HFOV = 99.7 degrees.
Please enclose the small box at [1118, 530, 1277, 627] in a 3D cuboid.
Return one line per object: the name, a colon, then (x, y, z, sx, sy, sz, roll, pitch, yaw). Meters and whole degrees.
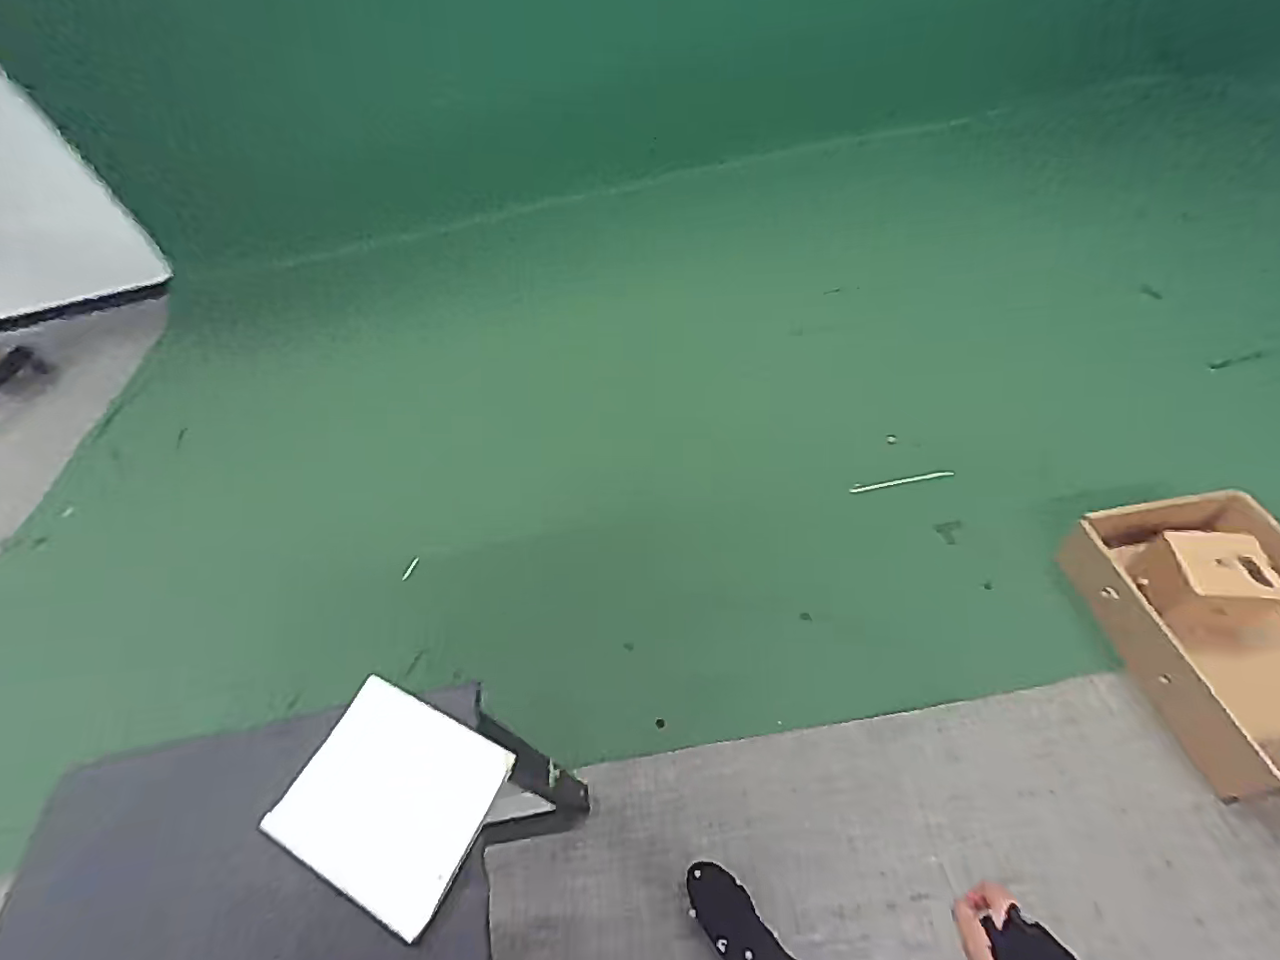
small box: (1.302, 0.236, 1.279, 0.179, 0.176, 0.168, 2, 53, 11)
